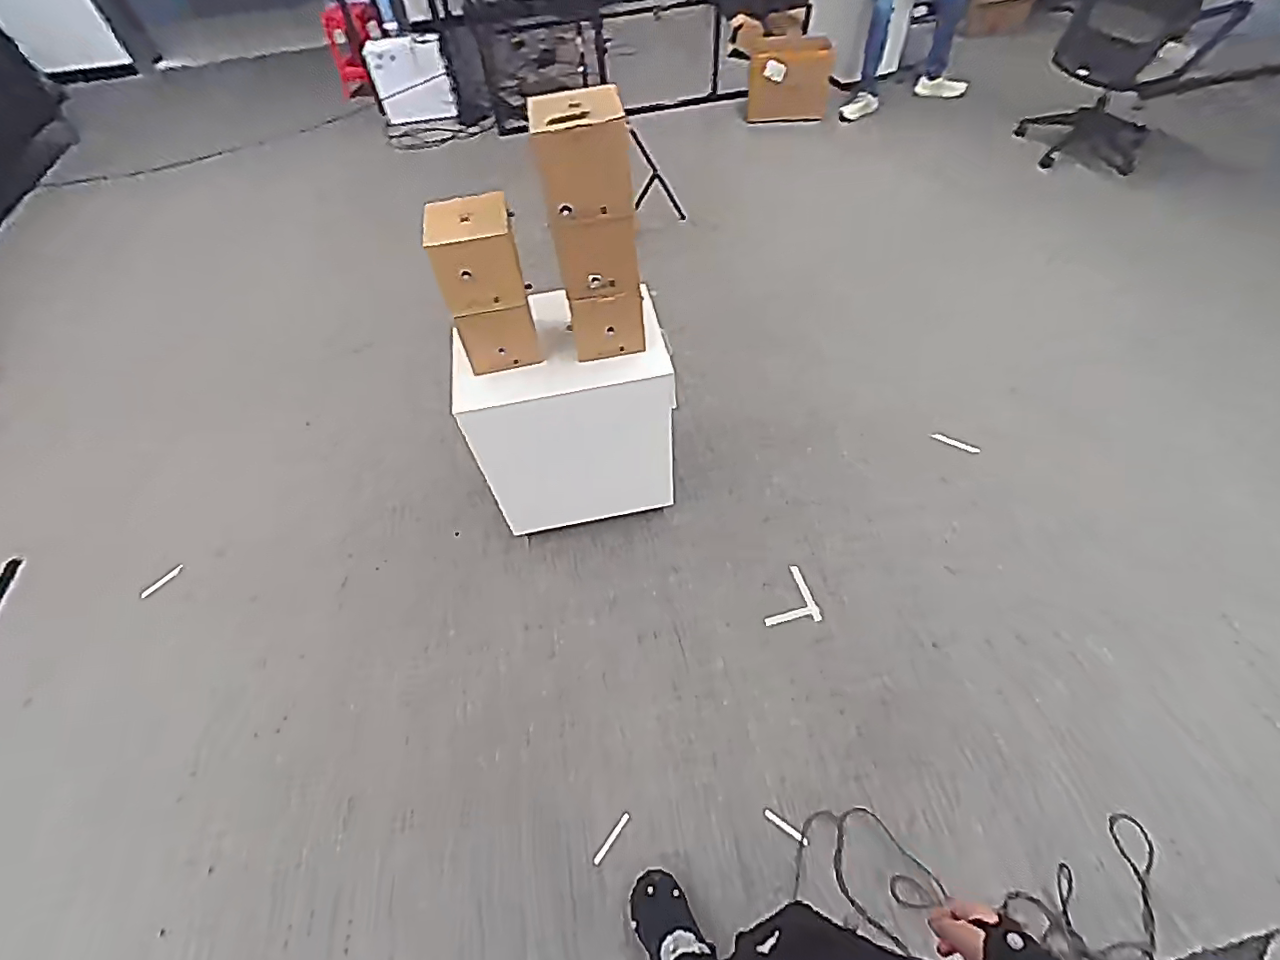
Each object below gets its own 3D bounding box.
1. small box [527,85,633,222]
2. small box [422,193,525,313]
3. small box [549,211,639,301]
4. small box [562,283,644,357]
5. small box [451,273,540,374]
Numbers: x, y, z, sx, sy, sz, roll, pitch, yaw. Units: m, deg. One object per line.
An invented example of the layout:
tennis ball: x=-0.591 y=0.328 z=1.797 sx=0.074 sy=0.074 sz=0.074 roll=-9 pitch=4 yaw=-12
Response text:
small box: x=-0.111 y=-0.608 z=1.023 sx=0.168 sy=0.176 sz=0.179 roll=-10 pitch=52 yaw=-1
small box: x=-0.348 y=-0.472 z=1.146 sx=0.168 sy=0.176 sz=0.179 roll=-12 pitch=53 yaw=-5
small box: x=-0.101 y=-0.513 z=1.157 sx=0.168 sy=0.176 sz=0.179 roll=-11 pitch=54 yaw=-2
small box: x=-0.088 y=-0.410 z=1.284 sx=0.168 sy=0.176 sz=0.179 roll=-11 pitch=55 yaw=-2
small box: x=-0.341 y=-0.379 z=1.279 sx=0.168 sy=0.176 sz=0.179 roll=-13 pitch=55 yaw=-5
